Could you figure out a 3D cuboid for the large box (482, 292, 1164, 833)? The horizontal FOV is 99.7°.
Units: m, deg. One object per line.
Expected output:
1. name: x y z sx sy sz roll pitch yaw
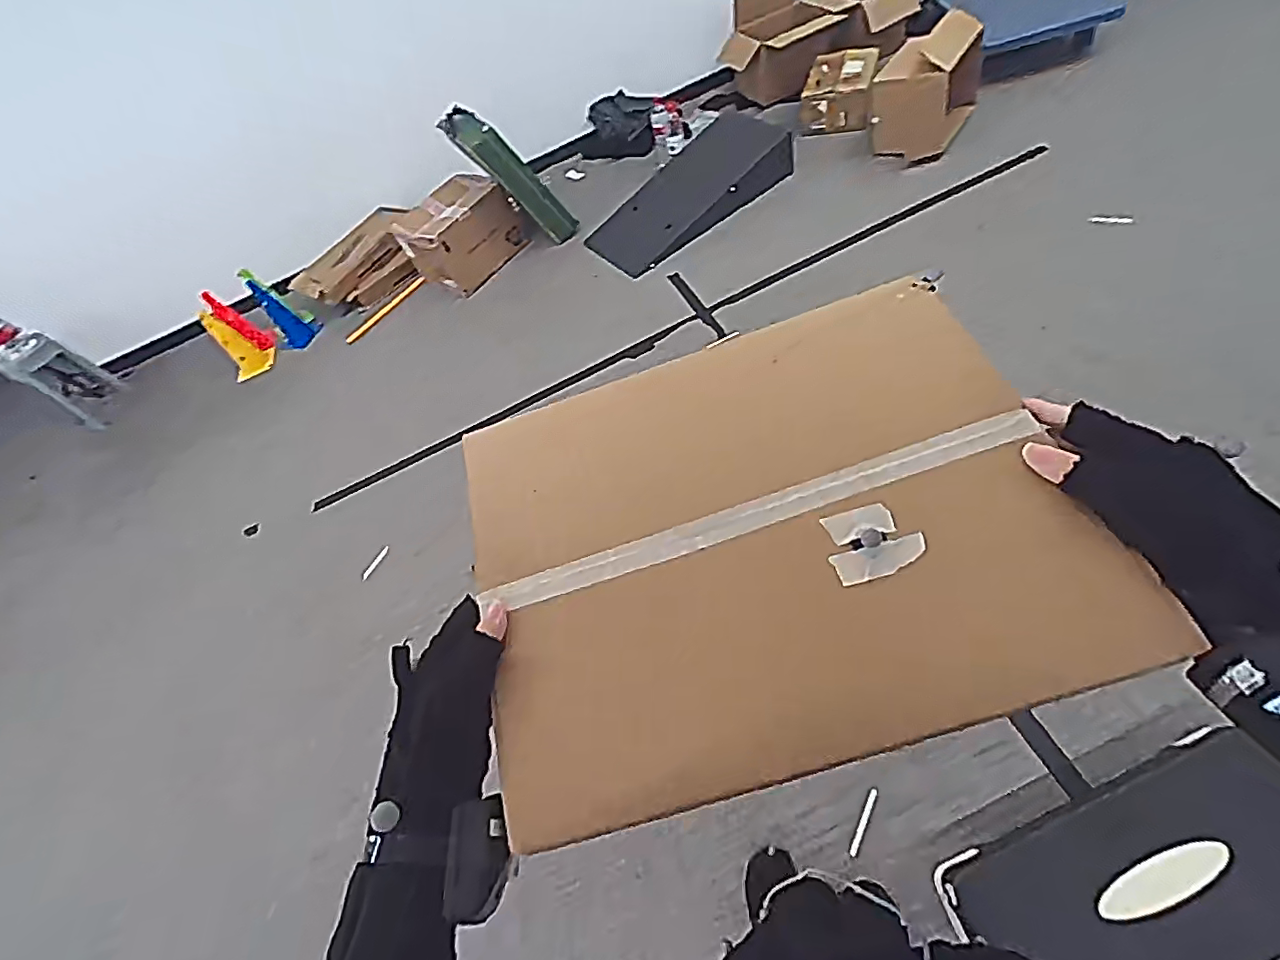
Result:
1. large box: 0.112 0.097 0.525 0.408 0.320 0.320 -19 61 3
